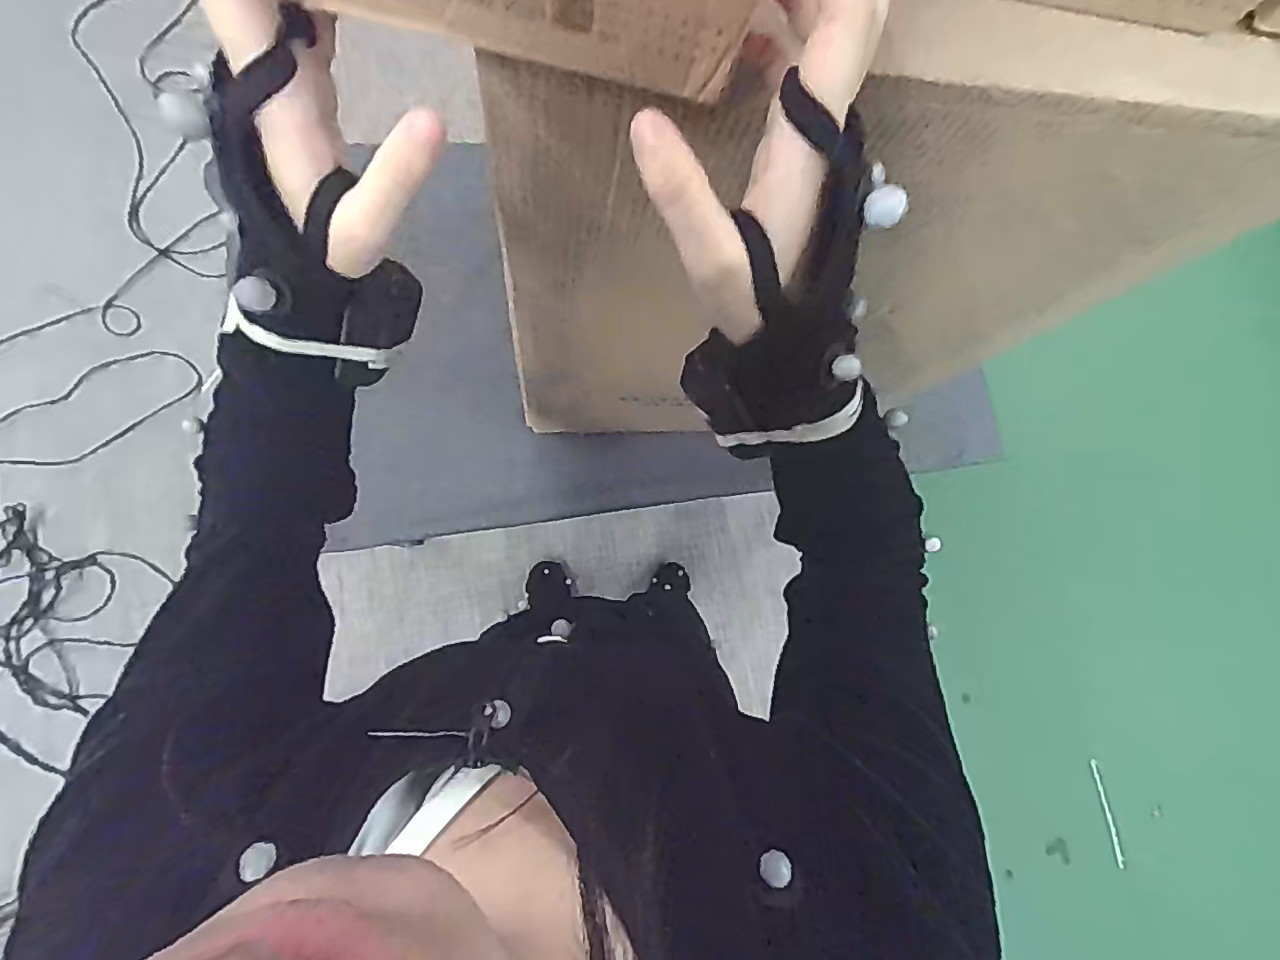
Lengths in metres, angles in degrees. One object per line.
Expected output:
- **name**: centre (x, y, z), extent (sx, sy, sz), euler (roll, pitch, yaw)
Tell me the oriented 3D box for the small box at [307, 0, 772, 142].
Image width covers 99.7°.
- **small box**: centre (-0.025, -0.243, 0.146), extent (0.168, 0.176, 0.179), euler (8, 84, -8)
